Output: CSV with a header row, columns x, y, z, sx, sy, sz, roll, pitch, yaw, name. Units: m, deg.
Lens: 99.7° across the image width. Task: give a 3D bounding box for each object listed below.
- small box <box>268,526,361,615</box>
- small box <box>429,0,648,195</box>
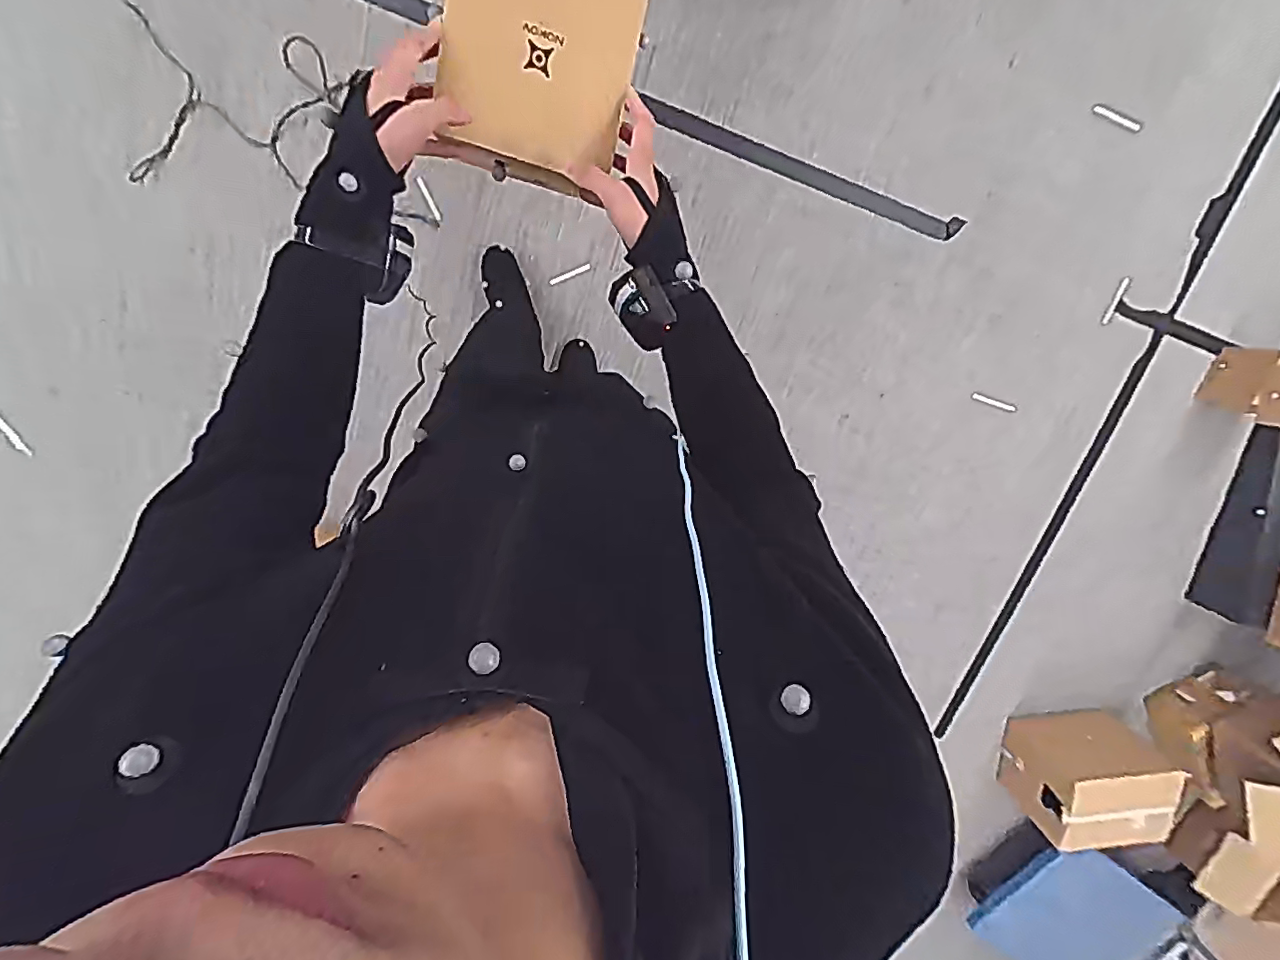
x,y,z,sx,sy,sz,roll,pitch,yaw,name
-0.938,0.256,1.573,0.168,0.176,0.179,19,106,-10,small box
-0.101,-0.404,0.539,0.168,0.176,0.179,10,109,-16,small box
